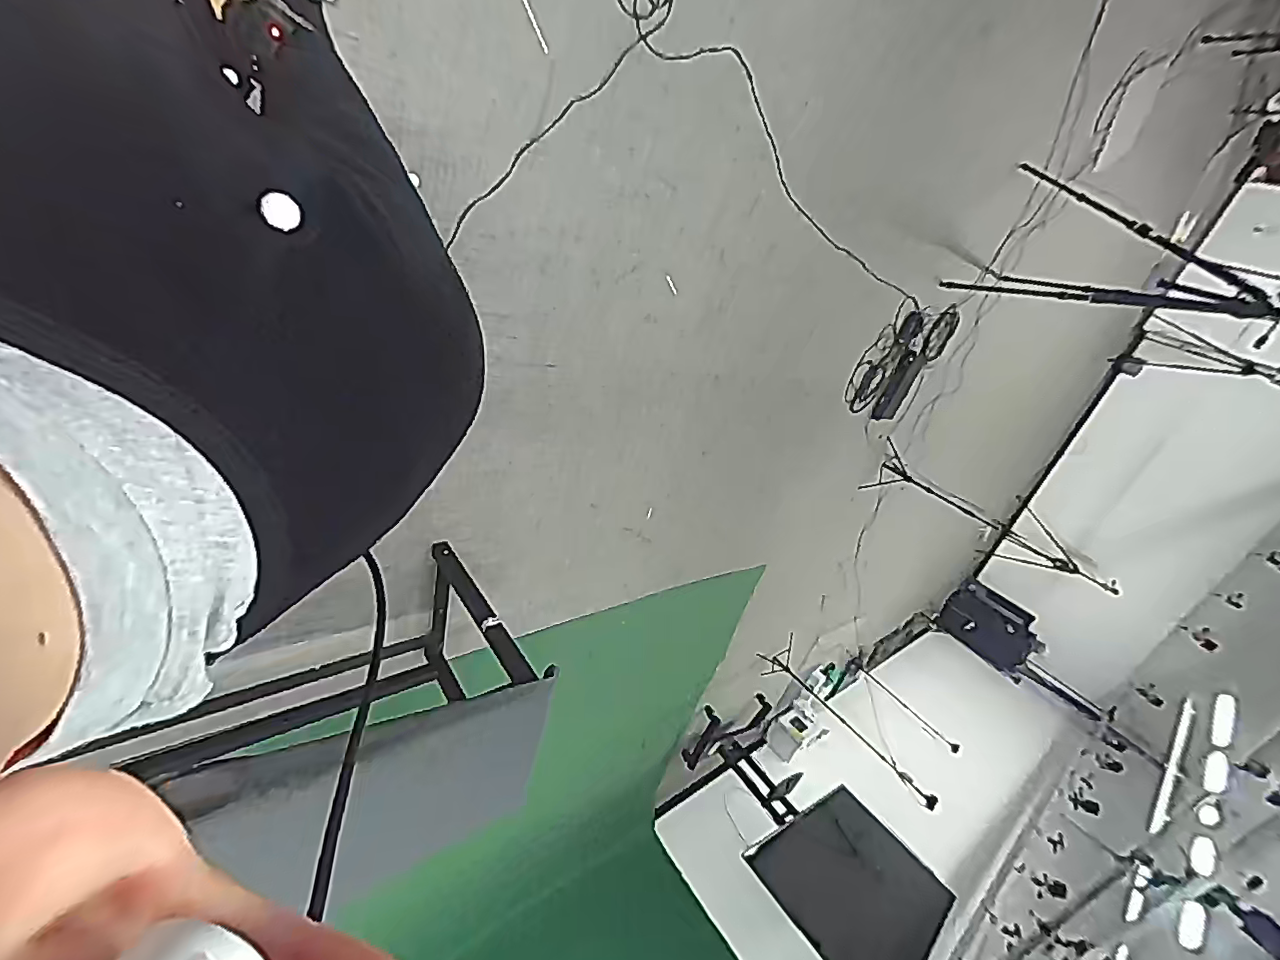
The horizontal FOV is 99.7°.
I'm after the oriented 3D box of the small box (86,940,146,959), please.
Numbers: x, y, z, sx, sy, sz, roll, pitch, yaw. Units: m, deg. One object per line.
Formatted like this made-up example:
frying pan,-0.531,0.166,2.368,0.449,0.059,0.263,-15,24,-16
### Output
small box,-1.045,1.031,1.022,0.168,0.176,0.179,-7,126,-42
